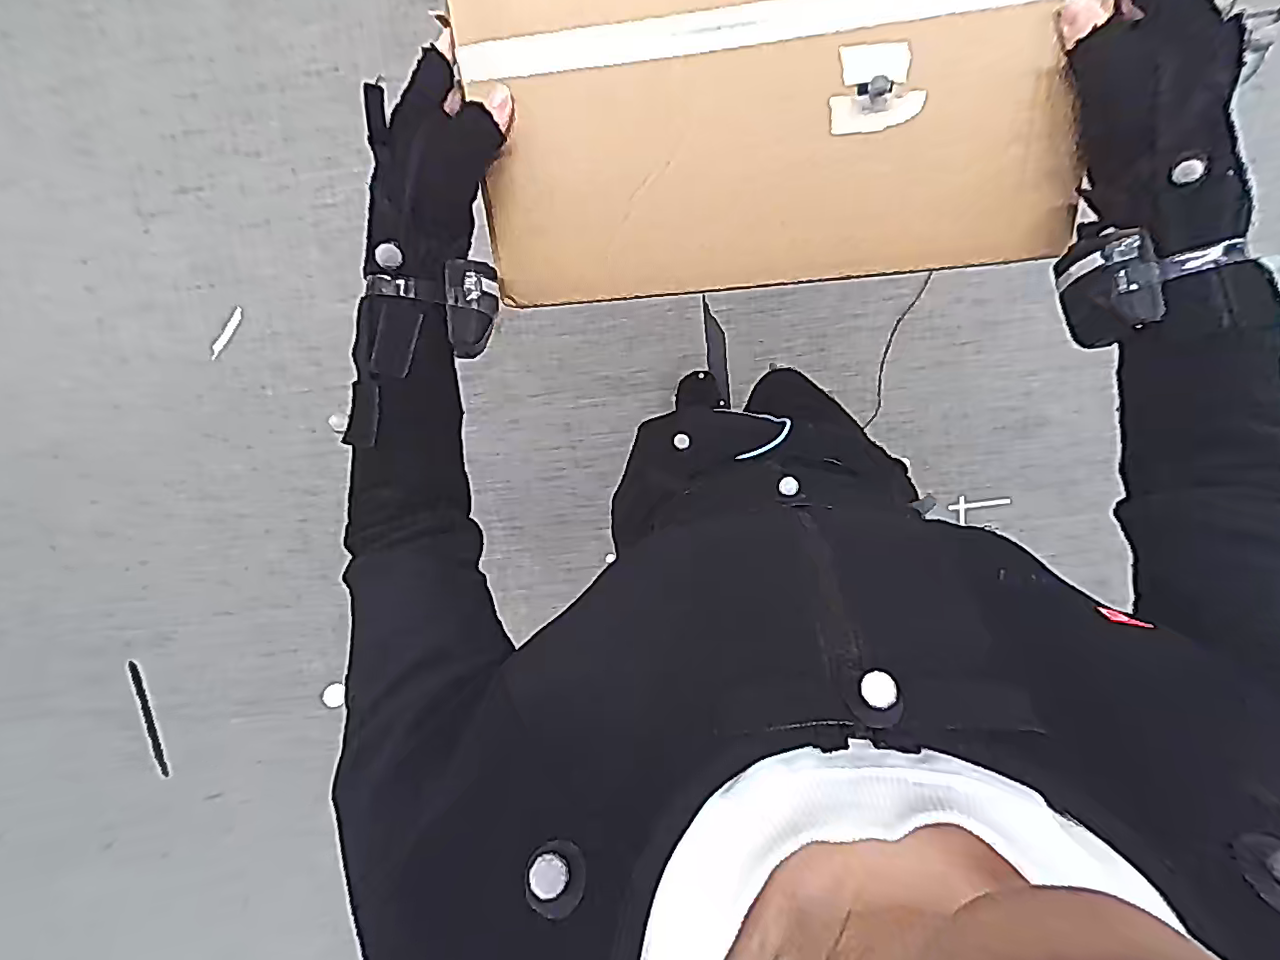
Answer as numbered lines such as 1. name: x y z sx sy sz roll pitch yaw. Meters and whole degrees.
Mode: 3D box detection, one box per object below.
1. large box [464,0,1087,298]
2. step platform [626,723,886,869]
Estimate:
1. large box: 0.091 -0.353 0.493 0.408 0.320 0.320 -4 111 6
2. step platform: 0.304 0.871 1.488 0.684 0.204 0.286 -6 98 7
